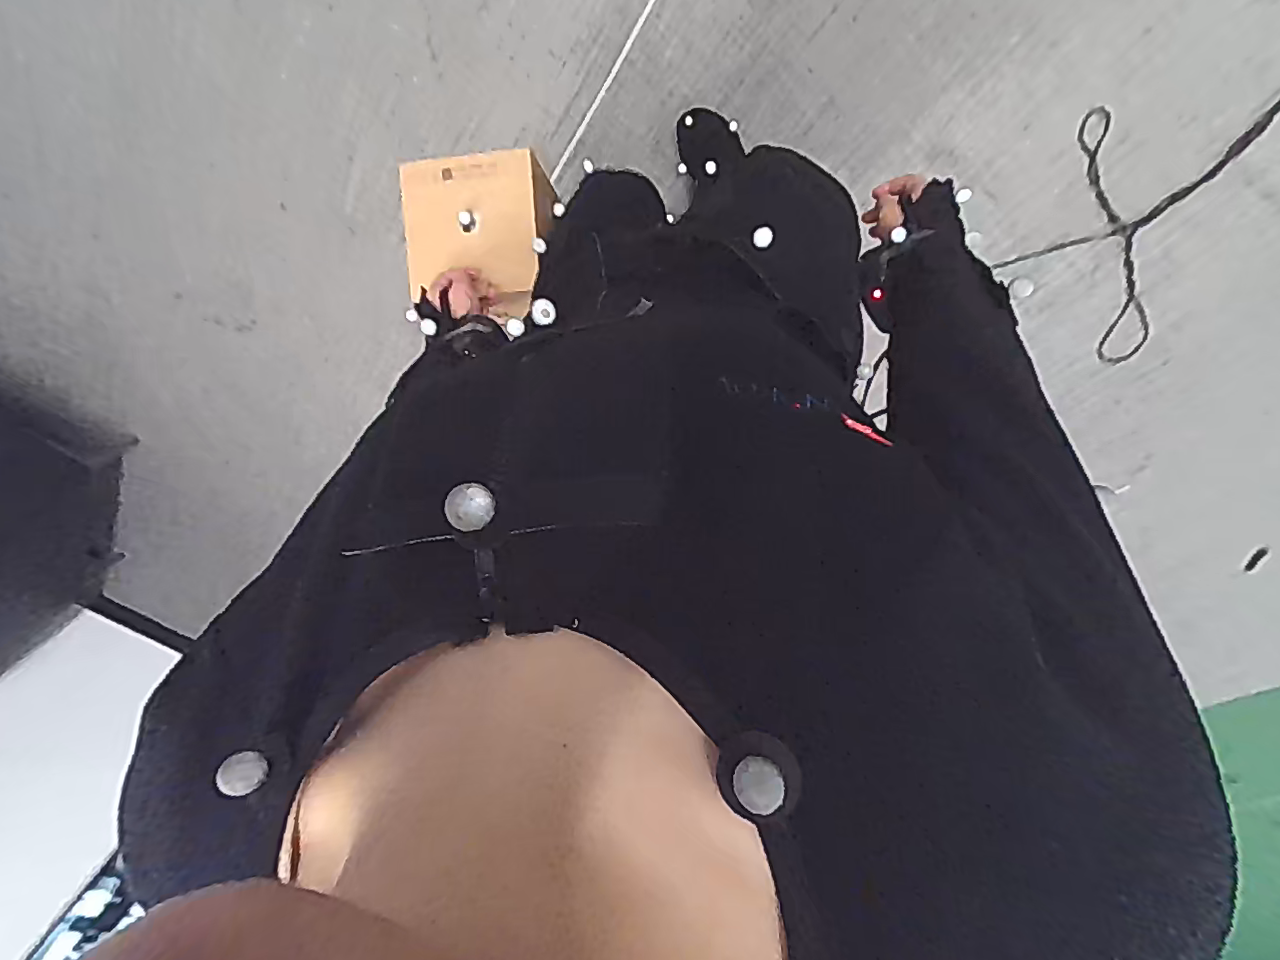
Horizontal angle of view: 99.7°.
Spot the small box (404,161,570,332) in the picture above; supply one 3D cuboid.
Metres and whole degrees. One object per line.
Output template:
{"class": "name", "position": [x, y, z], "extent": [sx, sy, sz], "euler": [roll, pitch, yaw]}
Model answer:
{"class": "small box", "position": [-0.198, -0.308, 0.731], "extent": [0.168, 0.179, 0.176], "euler": [-2, 94, 6]}
